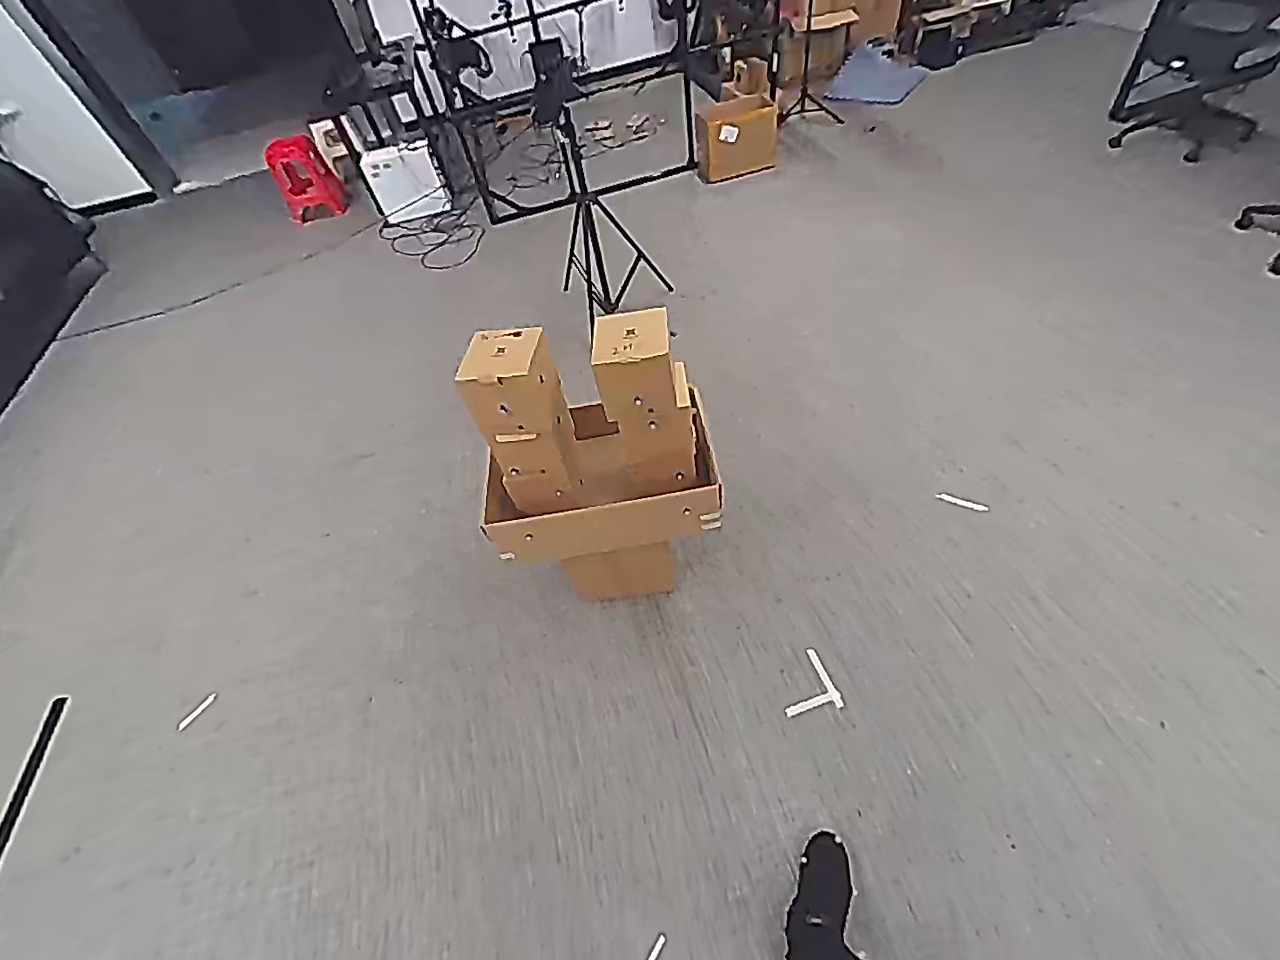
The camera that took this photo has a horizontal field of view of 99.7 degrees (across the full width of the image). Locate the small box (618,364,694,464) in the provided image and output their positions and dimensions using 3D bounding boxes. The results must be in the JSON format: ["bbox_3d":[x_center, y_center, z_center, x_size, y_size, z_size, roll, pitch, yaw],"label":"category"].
[{"bbox_3d":[0.040,-0.162,1.355,0.179,0.176,0.168,-9,49,5],"label":"small box"}]

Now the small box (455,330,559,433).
[{"bbox_3d":[-0.296,-0.221,1.252,0.168,0.176,0.179,-1,51,10],"label":"small box"}]

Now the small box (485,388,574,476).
[{"bbox_3d":[-0.273,-0.122,1.381,0.168,0.176,0.179,-4,50,8],"label":"small box"}]

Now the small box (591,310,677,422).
[{"bbox_3d":[-0.008,-0.256,1.227,0.168,0.176,0.179,-7,50,8],"label":"small box"}]
